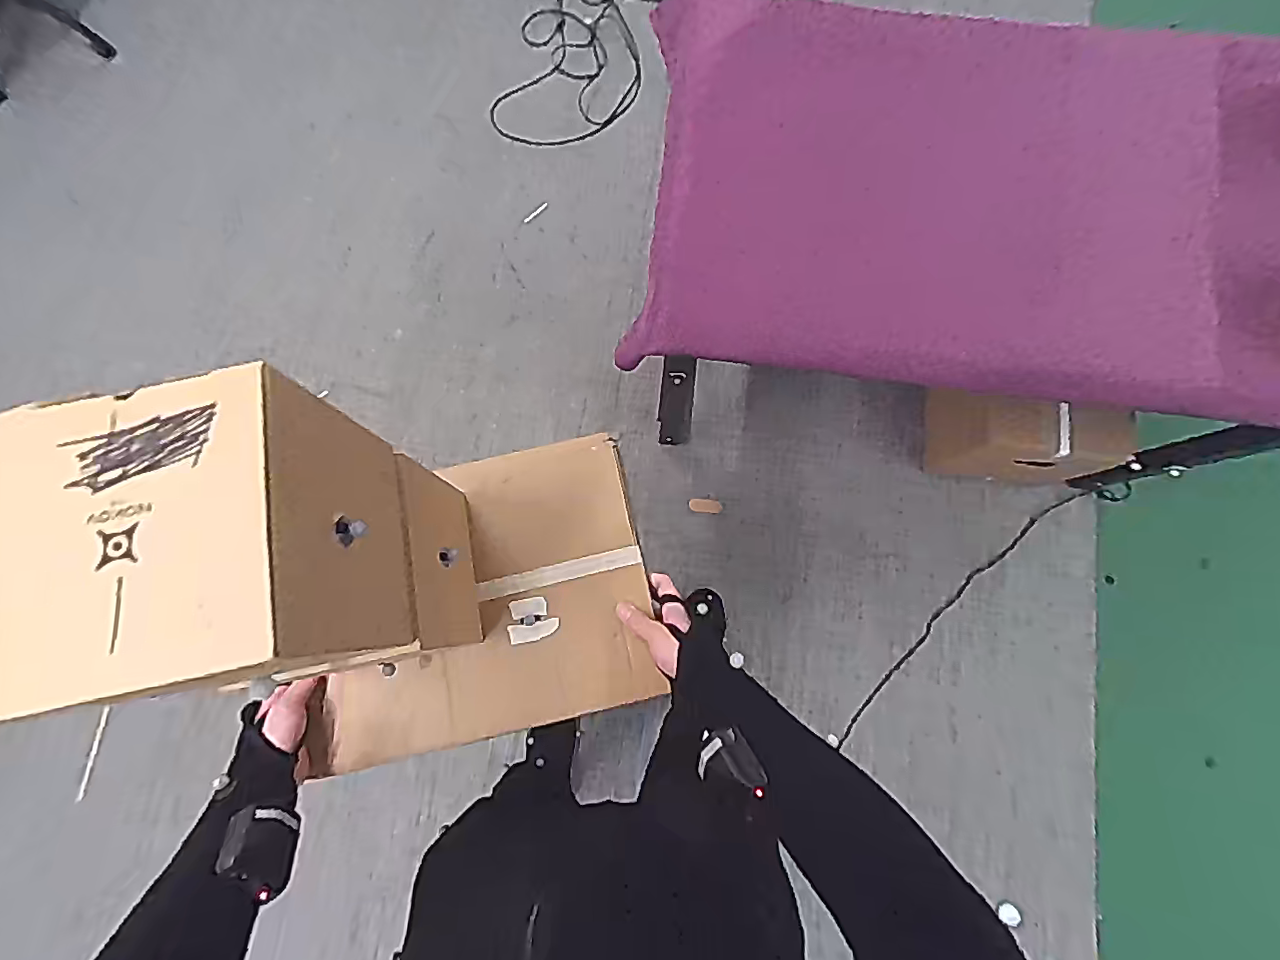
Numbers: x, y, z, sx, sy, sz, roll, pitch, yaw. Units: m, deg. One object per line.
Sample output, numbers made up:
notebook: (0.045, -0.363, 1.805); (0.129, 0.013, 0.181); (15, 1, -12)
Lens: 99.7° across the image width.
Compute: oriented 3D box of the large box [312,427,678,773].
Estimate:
large box: (-0.184, 0.163, 0.770); (0.408, 0.320, 0.320); (-14, 77, -3)

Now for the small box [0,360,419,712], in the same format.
small box: (-0.276, 0.044, 0.381); (0.168, 0.176, 0.179); (-13, 76, -1)
